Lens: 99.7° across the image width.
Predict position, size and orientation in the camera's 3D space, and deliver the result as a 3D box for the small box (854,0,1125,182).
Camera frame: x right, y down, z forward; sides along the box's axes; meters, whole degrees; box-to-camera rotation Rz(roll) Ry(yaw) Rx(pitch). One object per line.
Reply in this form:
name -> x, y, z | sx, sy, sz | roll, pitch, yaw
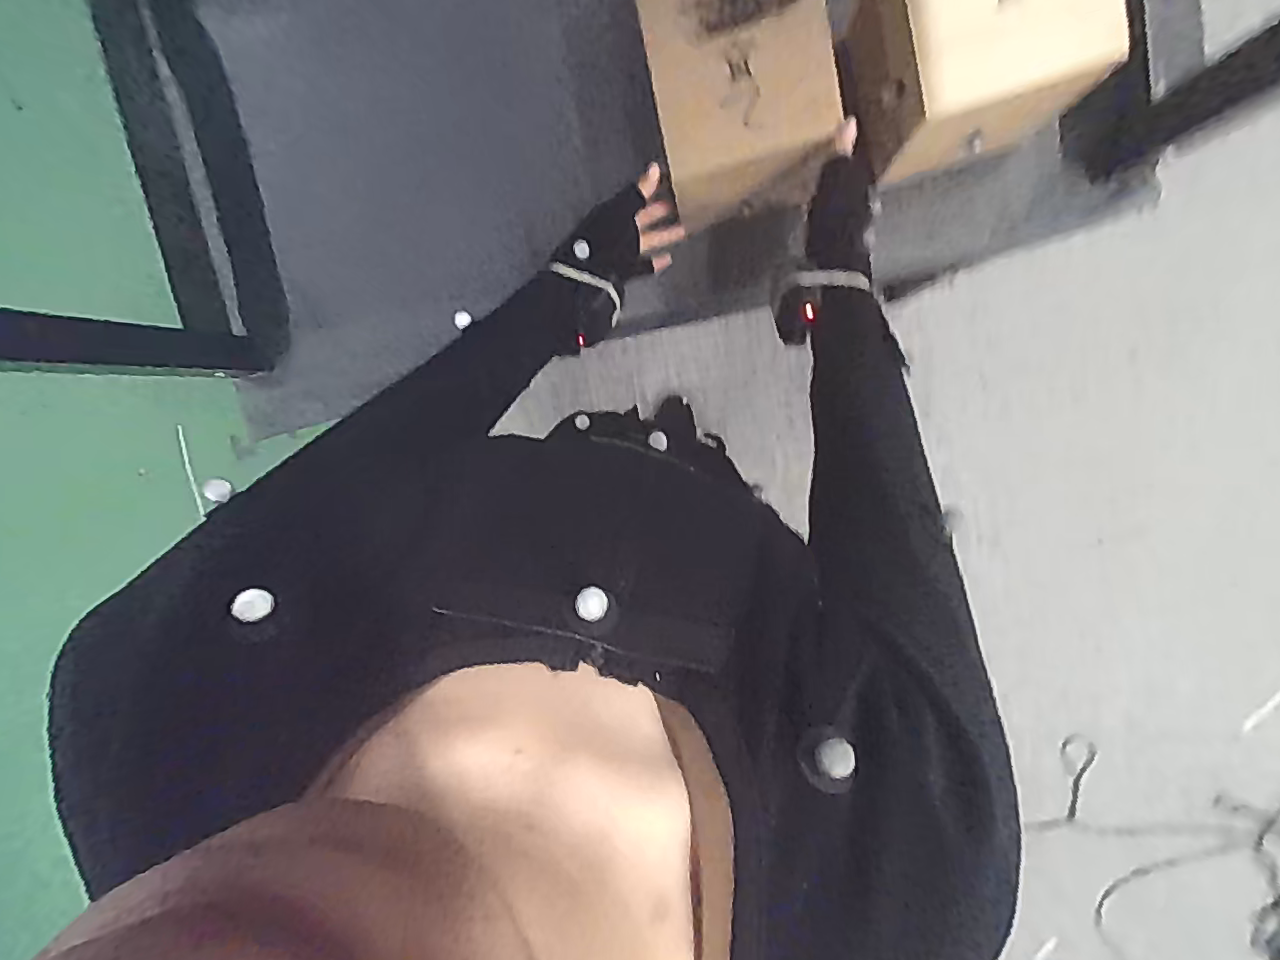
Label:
small box -> 0.332, -0.431, 0.547 | 0.168, 0.176, 0.179 | -13, 96, 10
